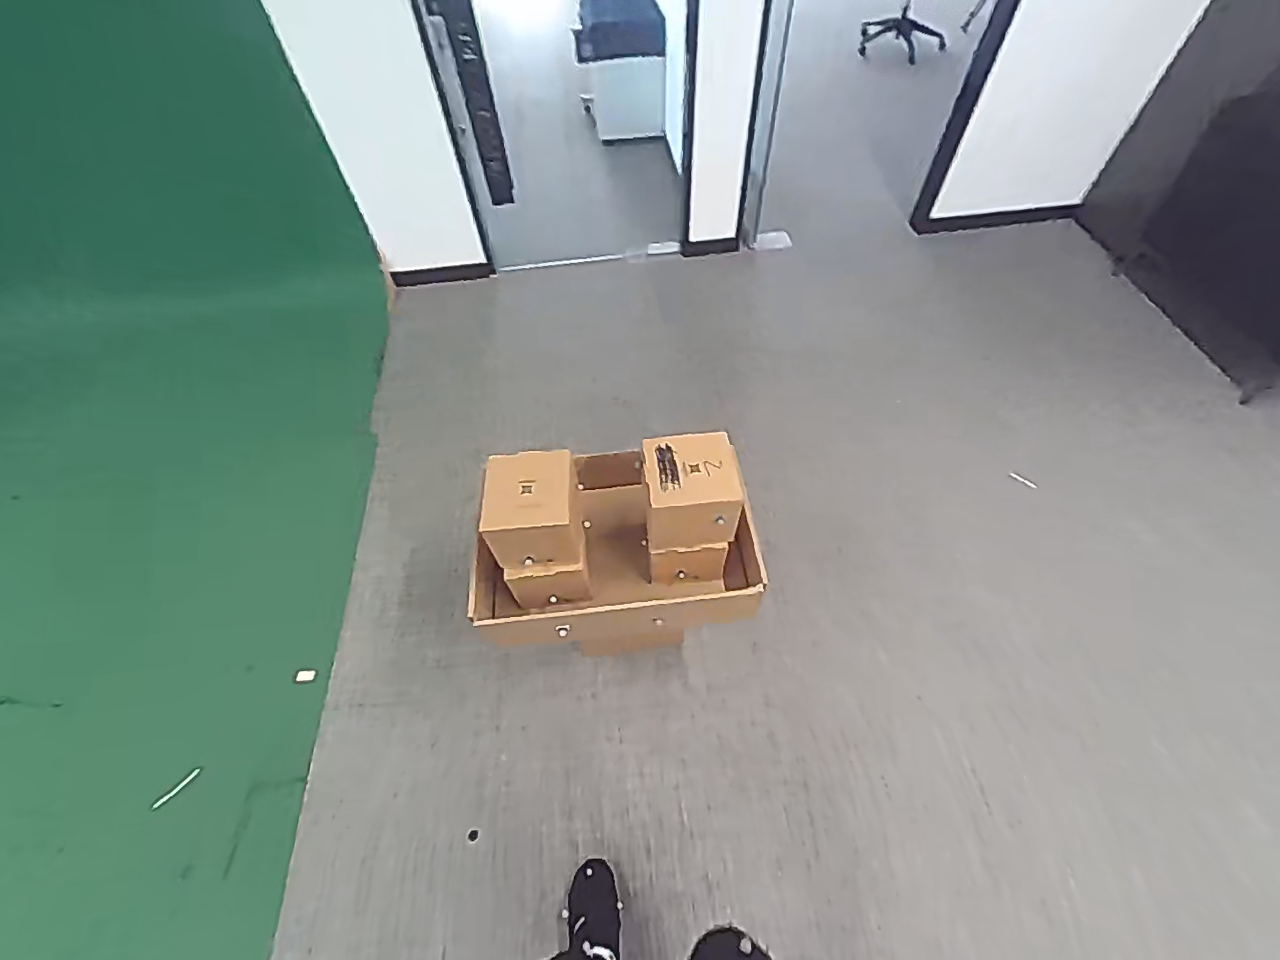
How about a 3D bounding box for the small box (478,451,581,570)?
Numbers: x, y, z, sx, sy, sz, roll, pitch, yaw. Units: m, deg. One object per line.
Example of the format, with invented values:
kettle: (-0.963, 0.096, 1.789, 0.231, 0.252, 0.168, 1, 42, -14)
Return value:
small box: (-0.213, 0.063, 1.091, 0.168, 0.176, 0.179, -4, 55, 0)
